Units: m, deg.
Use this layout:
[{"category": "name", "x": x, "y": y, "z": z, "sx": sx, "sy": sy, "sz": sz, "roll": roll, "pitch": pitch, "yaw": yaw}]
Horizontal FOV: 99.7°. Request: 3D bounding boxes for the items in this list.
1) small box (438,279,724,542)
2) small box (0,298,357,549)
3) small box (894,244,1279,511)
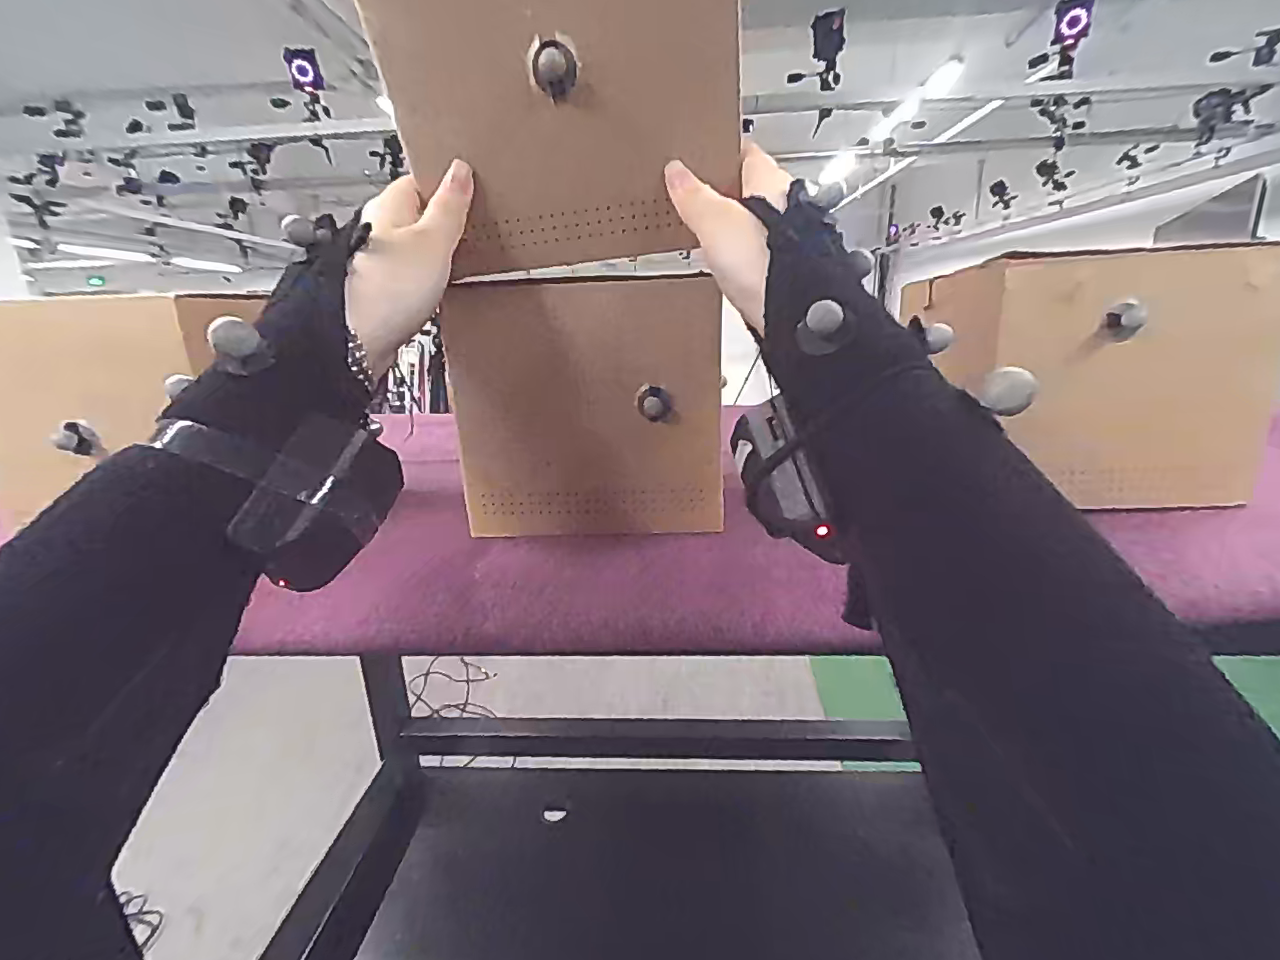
[{"category": "small box", "x": -0.031, "y": -0.058, "z": 0.422, "sx": 0.179, "sy": 0.176, "sz": 0.168, "roll": -3, "pitch": 15, "yaw": 2}, {"category": "small box", "x": -0.353, "y": -0.052, "z": 0.431, "sx": 0.168, "sy": 0.176, "sz": 0.179, "roll": 0, "pitch": 17, "yaw": 2}, {"category": "small box", "x": 0.316, "y": -0.076, "z": 0.425, "sx": 0.179, "sy": 0.176, "sz": 0.168, "roll": -1, "pitch": 14, "yaw": 5}]
